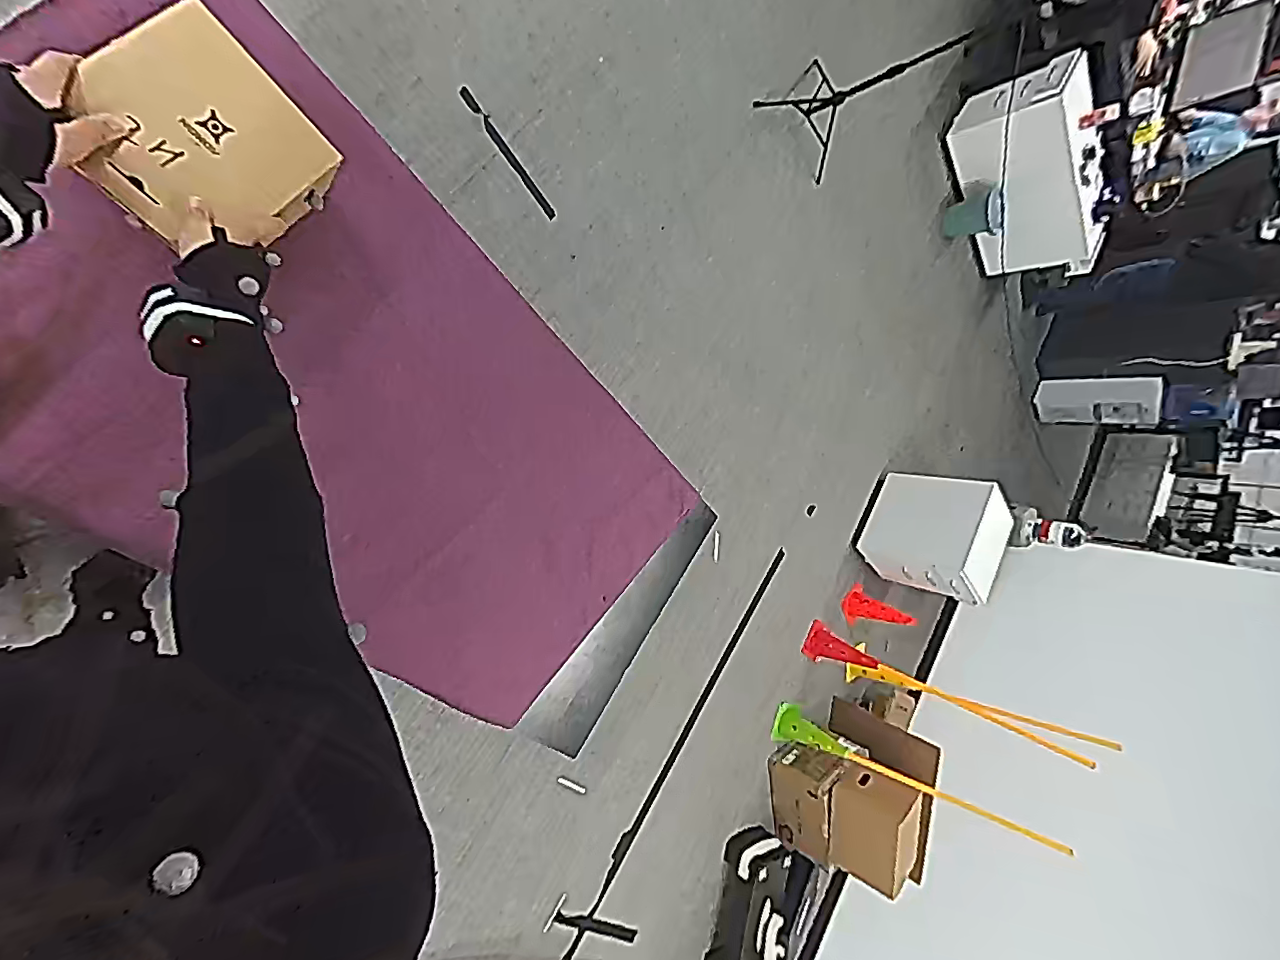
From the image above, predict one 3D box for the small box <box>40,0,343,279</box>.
[{"bbox_3d":[-0.468,-0.349,0.587,0.168,0.176,0.179,48,68,-33],"label":"small box"}]
